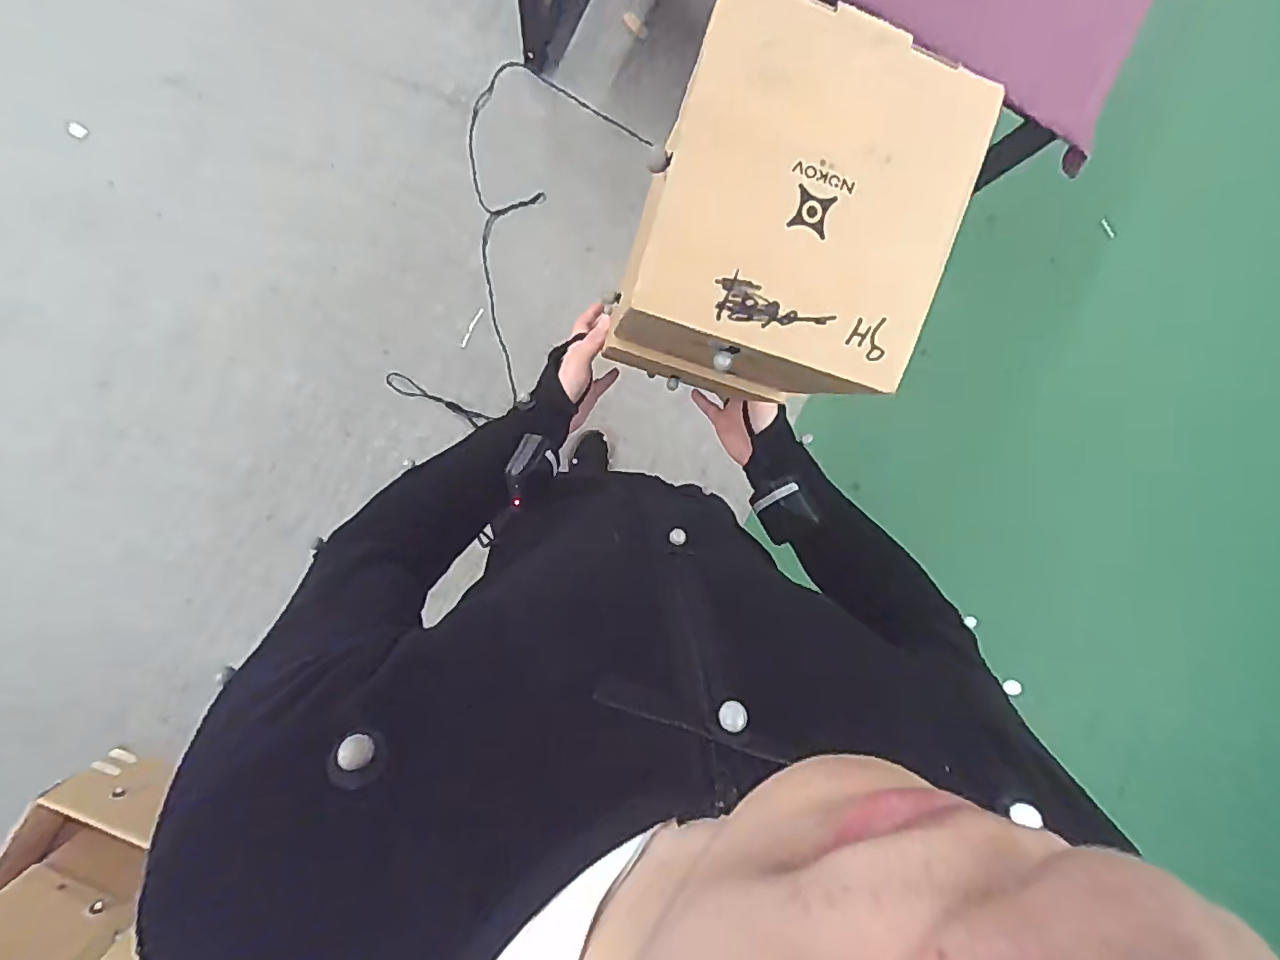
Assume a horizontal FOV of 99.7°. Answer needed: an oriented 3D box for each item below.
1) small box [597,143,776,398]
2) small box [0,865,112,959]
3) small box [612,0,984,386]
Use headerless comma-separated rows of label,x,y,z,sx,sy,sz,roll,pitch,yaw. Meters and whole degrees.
small box,0.059,-0.190,0.536,0.168,0.176,0.179,16,98,-9
small box,-1.010,0.768,0.855,0.168,0.176,0.179,34,88,-8
small box,0.081,-0.172,0.374,0.168,0.176,0.179,16,97,-8
